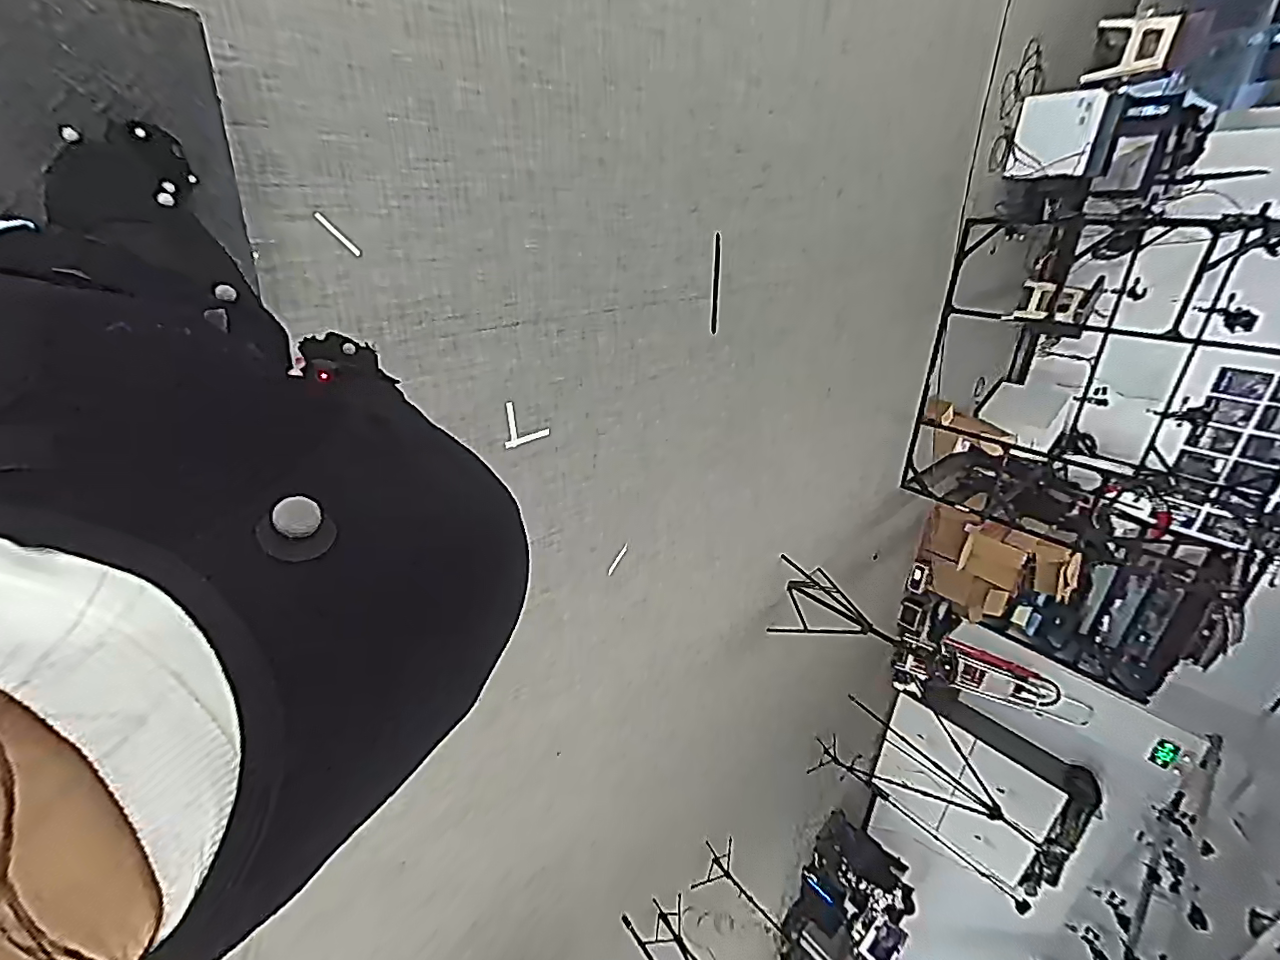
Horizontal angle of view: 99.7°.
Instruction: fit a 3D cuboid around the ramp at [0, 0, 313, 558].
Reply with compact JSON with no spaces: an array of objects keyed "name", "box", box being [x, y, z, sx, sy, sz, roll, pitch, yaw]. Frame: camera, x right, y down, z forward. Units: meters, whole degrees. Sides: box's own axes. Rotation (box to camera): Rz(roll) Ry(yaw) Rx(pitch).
[{"name":"ramp","box":[-1.000,-0.308,1.053,0.509,0.206,0.991,-22,124,-37]}]
